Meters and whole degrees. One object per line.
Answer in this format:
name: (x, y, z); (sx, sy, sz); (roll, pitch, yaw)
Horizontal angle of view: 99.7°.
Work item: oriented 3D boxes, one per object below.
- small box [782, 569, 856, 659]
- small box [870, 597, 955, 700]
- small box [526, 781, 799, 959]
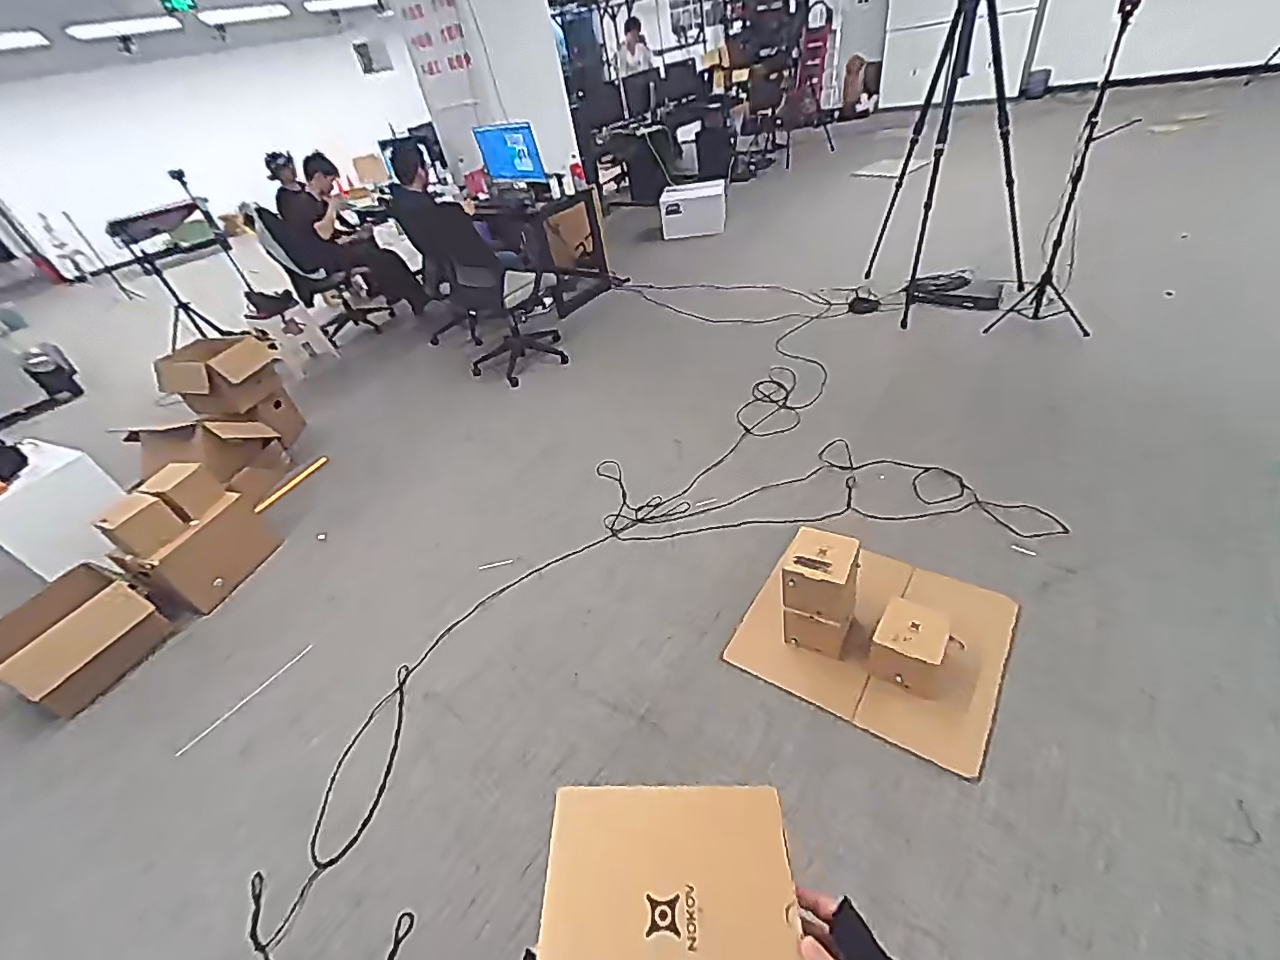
small box: (0.536, 0.403, 1.619); (0.168, 0.176, 0.179); (14, 45, 30)
small box: (0.744, 0.463, 1.490); (0.168, 0.176, 0.179); (16, 47, 34)
small box: (0.018, 0.352, 0.411); (0.179, 0.176, 0.168); (-1, 38, 2)
